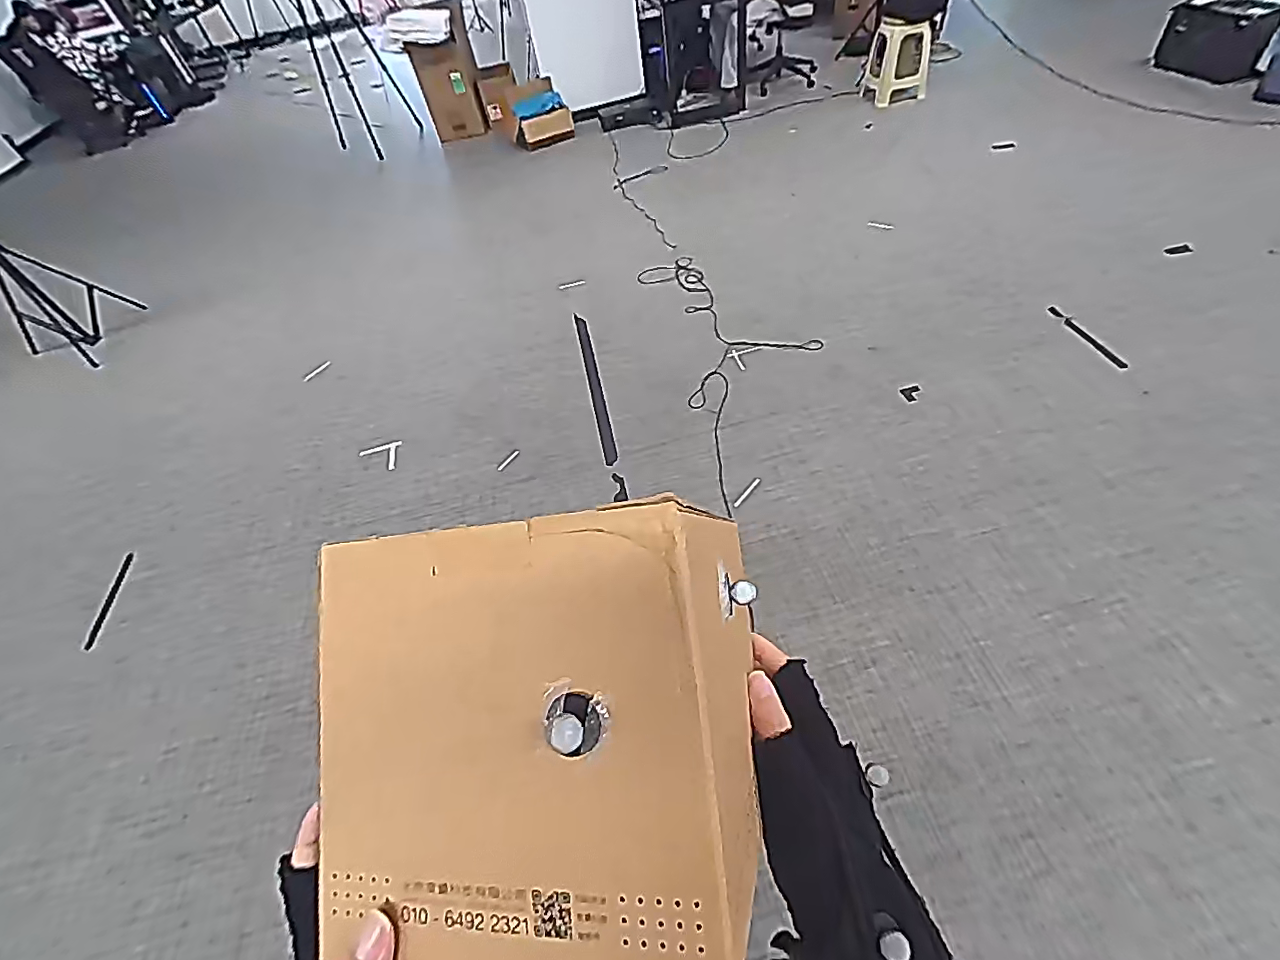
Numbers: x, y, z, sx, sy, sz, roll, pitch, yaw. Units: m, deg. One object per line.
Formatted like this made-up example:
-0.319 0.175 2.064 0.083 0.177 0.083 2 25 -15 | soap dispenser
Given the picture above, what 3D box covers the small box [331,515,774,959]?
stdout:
-0.026 0.116 0.284 0.168 0.179 0.176 -8 80 17 | small box
